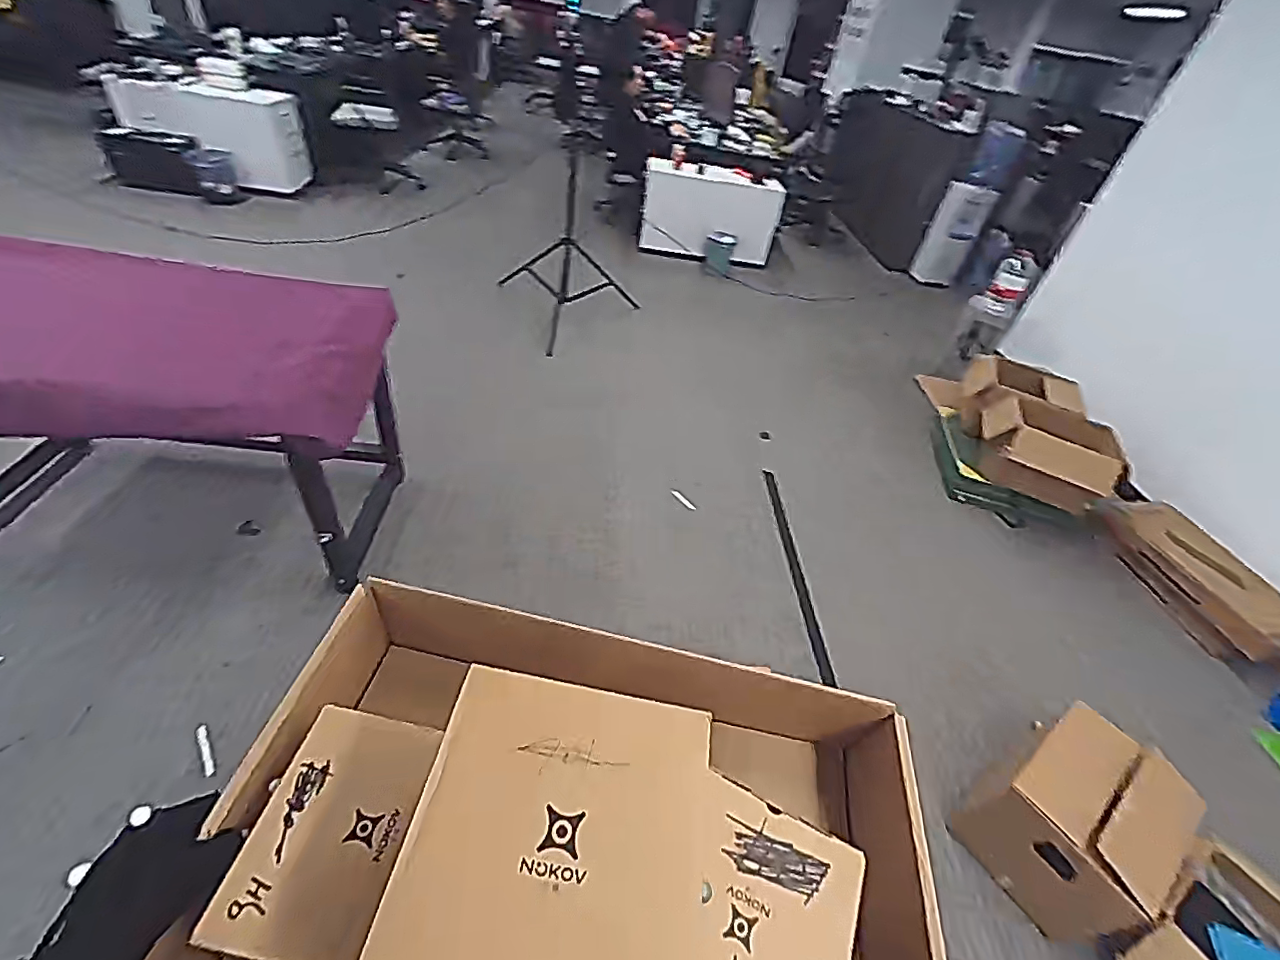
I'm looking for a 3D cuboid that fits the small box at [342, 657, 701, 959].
[{"bbox_3d":[-0.063,0.247,0.352,0.168,0.176,0.179,12,45,-2],"label":"small box"}]

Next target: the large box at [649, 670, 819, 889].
[{"bbox_3d":[0.181,0.726,1.327,0.320,0.320,0.408,3,43,-8],"label":"large box"}]
